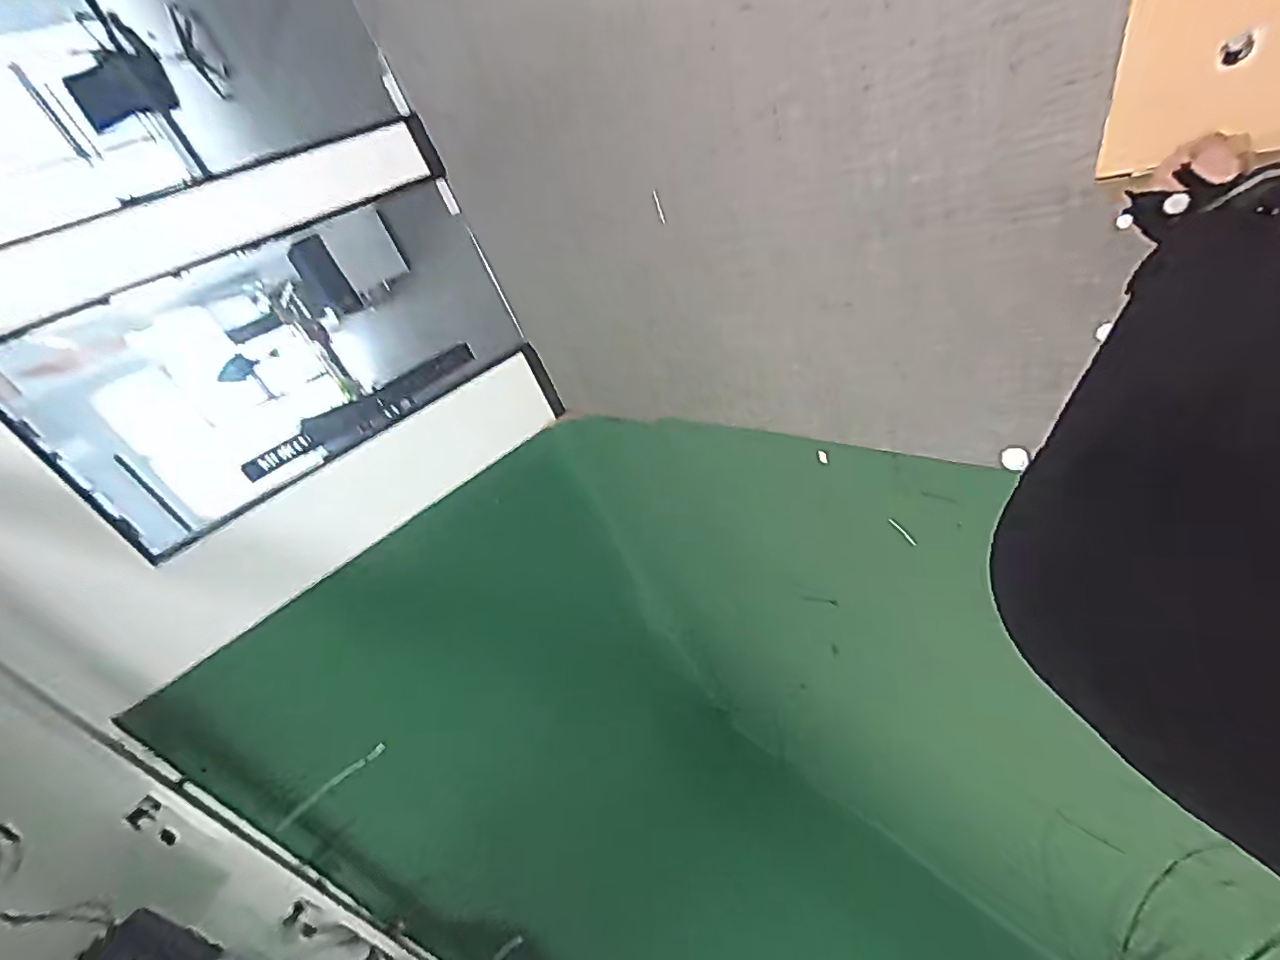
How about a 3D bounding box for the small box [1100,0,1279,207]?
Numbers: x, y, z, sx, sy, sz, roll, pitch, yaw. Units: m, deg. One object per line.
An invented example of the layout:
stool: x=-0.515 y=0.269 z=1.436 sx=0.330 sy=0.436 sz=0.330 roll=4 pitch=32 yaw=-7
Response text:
small box: x=0.584 y=-0.383 z=0.528 sx=0.168 sy=0.179 sz=0.176 roll=18 pitch=113 yaw=44
